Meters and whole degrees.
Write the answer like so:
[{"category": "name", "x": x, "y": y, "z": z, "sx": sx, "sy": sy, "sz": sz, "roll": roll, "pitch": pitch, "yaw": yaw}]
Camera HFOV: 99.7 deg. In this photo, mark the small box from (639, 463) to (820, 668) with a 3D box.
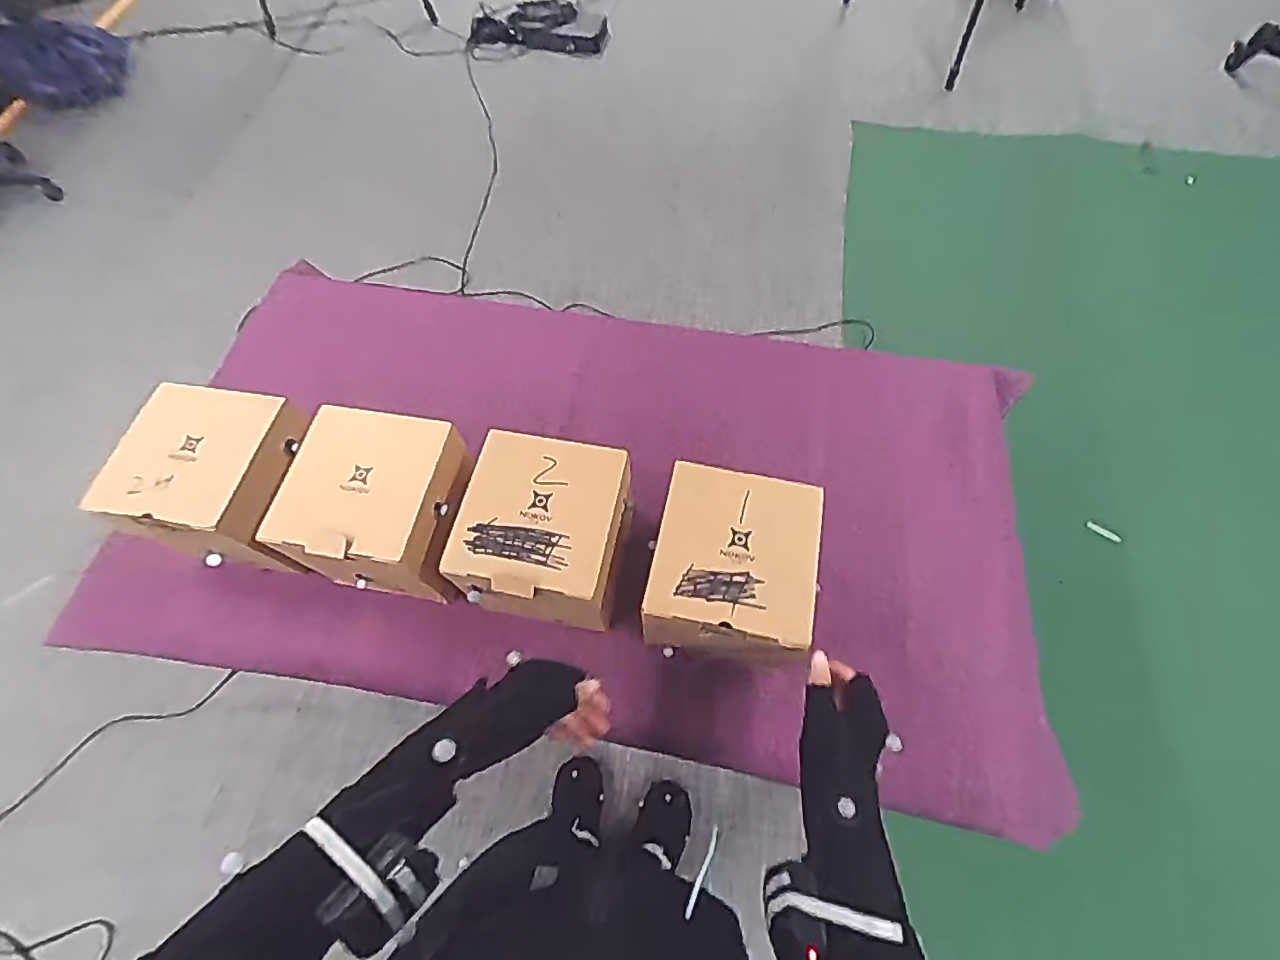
[{"category": "small box", "x": 0.100, "y": 0.107, "z": 0.633, "sx": 0.168, "sy": 0.176, "sz": 0.179, "roll": 12, "pitch": 62, "yaw": 7}]
